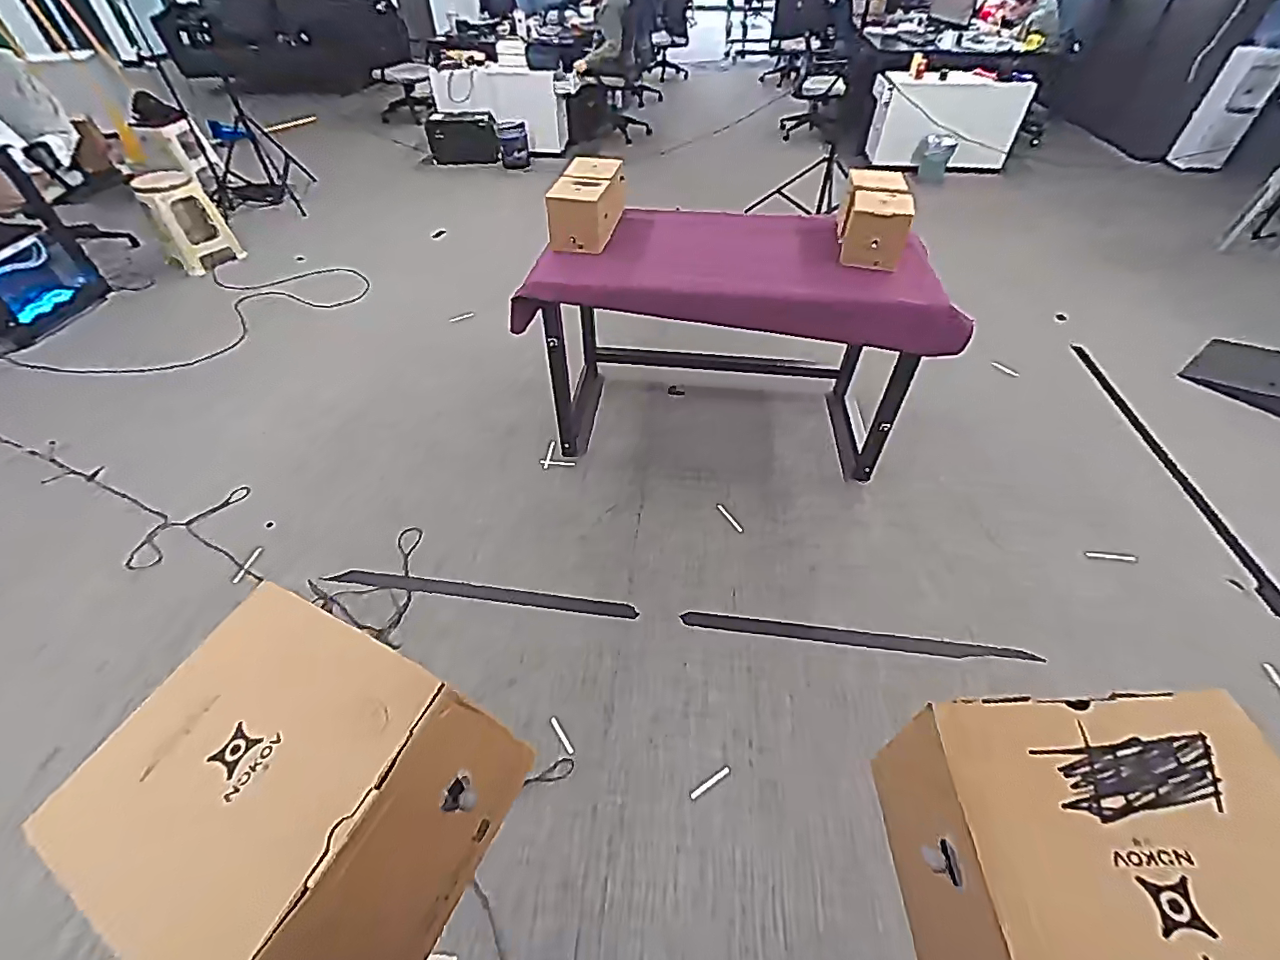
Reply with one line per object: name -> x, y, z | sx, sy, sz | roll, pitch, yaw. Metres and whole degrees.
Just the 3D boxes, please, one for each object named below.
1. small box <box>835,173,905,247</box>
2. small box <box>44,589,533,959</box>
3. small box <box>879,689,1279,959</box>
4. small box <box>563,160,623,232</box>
small box -> 0.753, -0.895, 1.790 | 0.168, 0.176, 0.179 | 8, 46, 7
small box -> -0.199, 0.205, 0.360 | 0.179, 0.176, 0.168 | 15, 55, 24
small box -> 0.263, 0.243, 0.326 | 0.168, 0.176, 0.179 | -5, 52, 5
small box -> -0.158, -0.981, 1.869 | 0.168, 0.176, 0.179 | 8, 48, 8
